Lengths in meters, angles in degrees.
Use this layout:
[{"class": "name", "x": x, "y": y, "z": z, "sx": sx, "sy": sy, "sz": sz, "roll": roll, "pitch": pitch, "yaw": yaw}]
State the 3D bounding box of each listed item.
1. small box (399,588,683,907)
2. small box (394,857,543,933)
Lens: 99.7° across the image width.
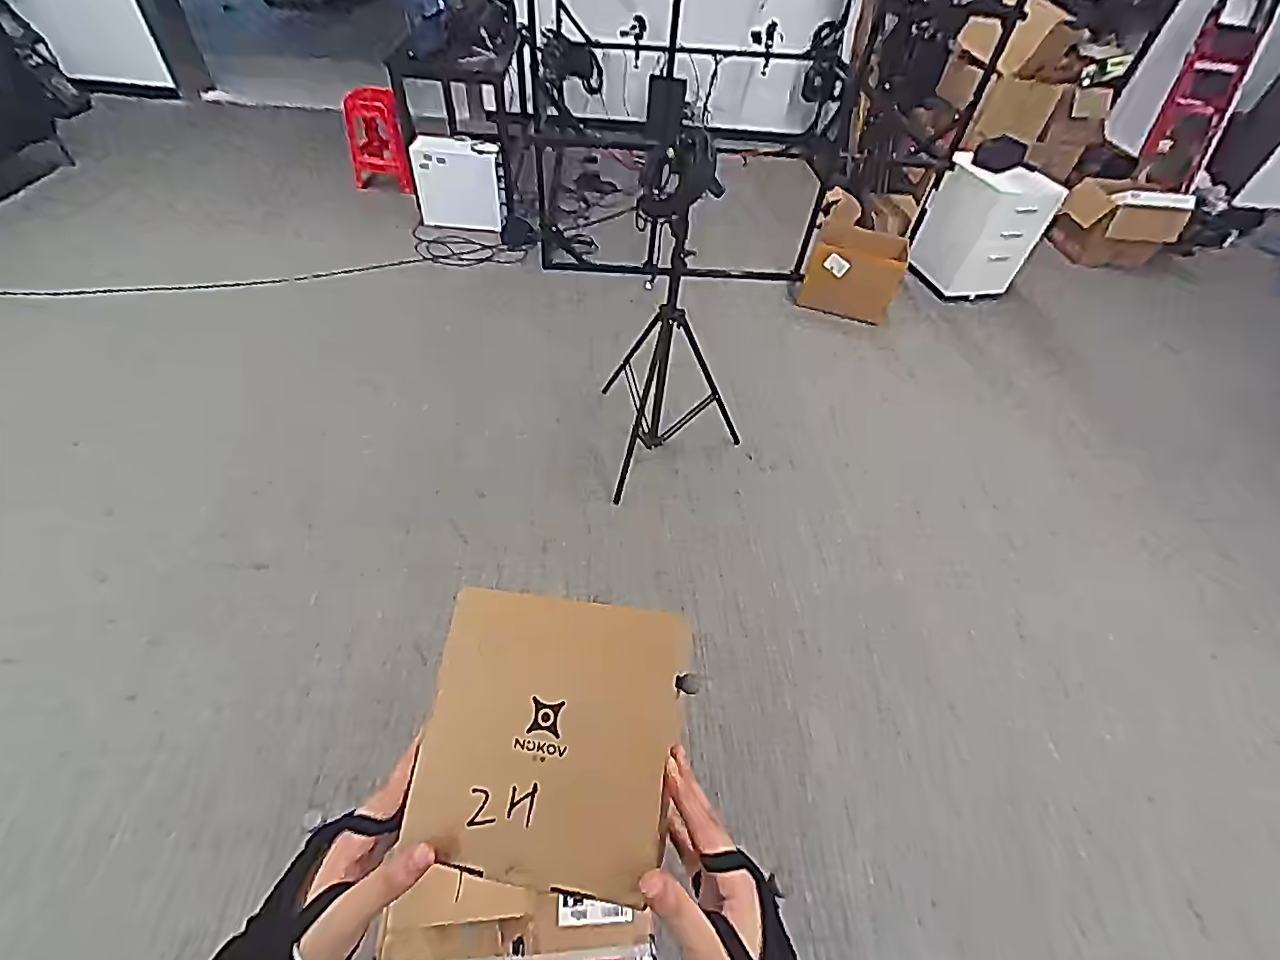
[{"class": "small box", "x": -0.056, "y": 0.197, "z": 0.438, "sx": 0.168, "sy": 0.176, "sz": 0.179, "roll": 4, "pitch": 70, "yaw": 9}, {"class": "small box", "x": -0.224, "y": 0.516, "z": 0.760, "sx": 0.168, "sy": 0.176, "sz": 0.179, "roll": -2, "pitch": 52, "yaw": -6}]
